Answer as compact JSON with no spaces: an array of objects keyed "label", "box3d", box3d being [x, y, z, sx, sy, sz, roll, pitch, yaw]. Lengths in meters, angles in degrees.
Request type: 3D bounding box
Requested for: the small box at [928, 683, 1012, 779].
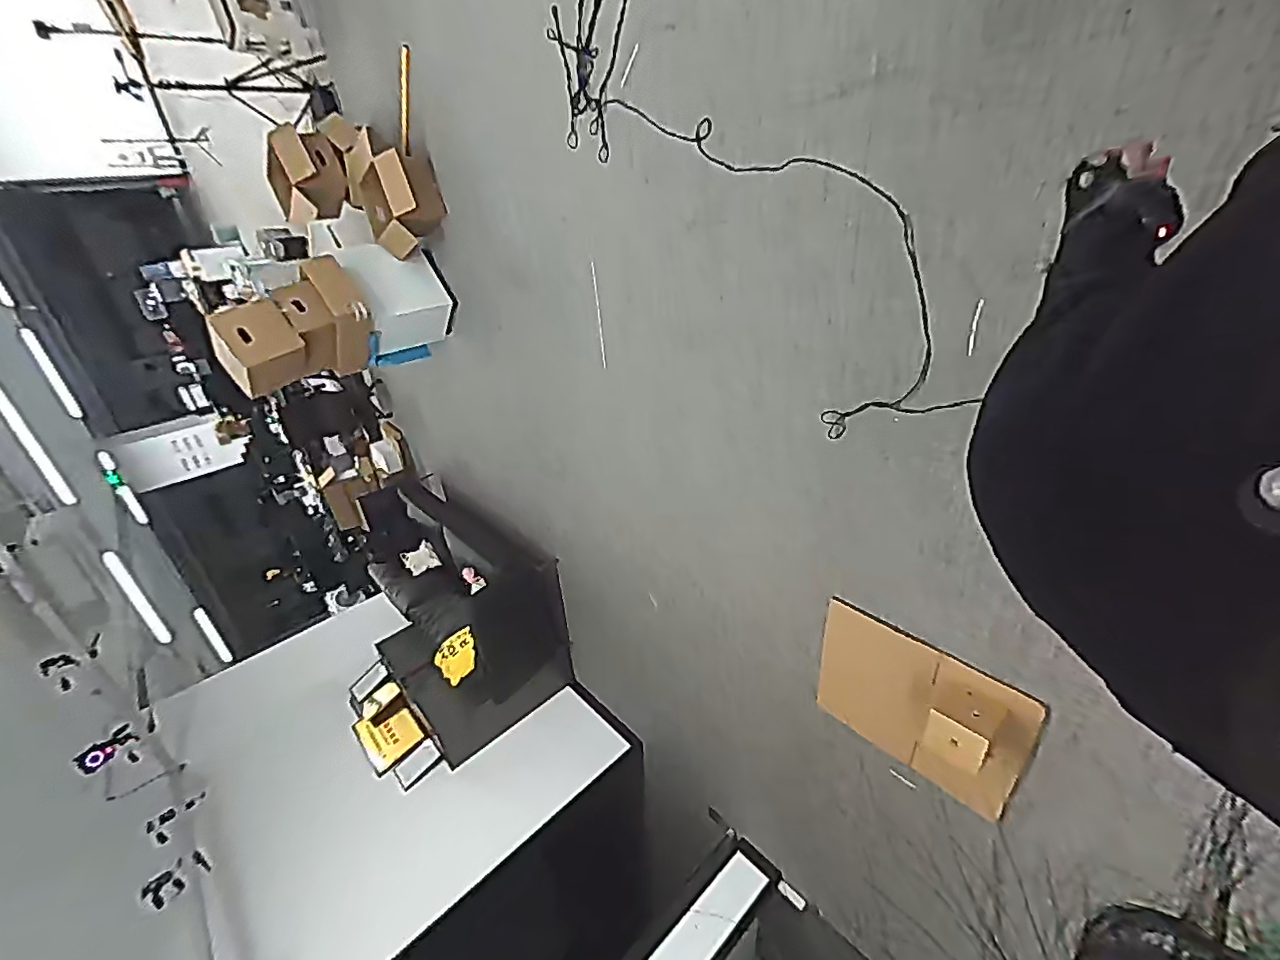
[{"label":"small box","box3d":[1.033,0.775,1.688,0.168,0.176,0.179,24,130,43]}]
